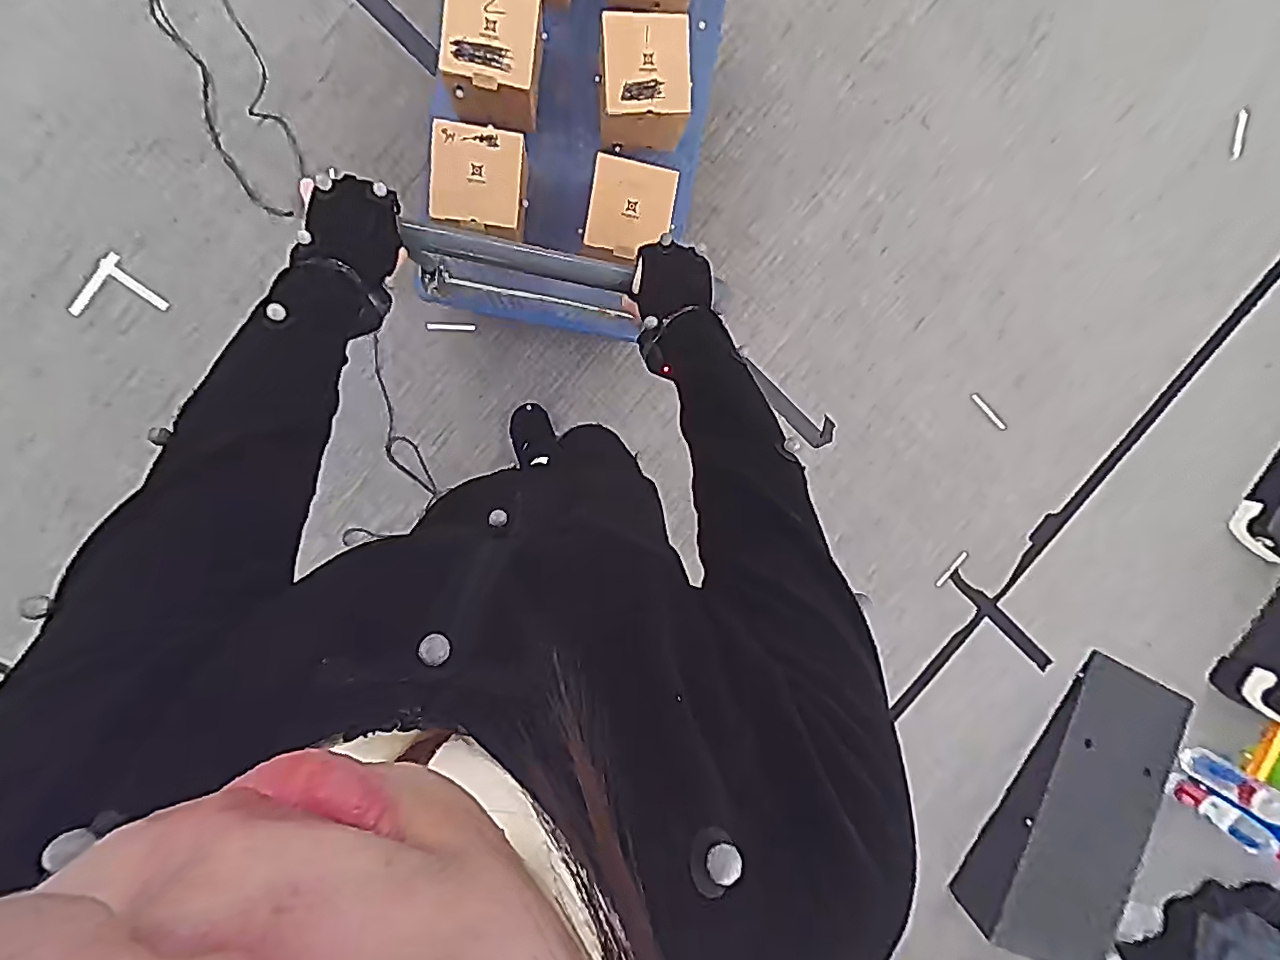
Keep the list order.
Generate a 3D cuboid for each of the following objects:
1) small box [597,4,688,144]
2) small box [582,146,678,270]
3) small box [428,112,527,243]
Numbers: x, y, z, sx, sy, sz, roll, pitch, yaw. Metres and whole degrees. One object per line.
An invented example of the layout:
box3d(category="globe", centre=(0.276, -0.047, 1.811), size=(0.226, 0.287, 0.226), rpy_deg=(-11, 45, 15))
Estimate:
box3d(category="small box", centre=(0.002, -0.812, 1.101), size=(0.168, 0.176, 0.179), rpy_deg=(-4, 100, -7))
box3d(category="small box", centre=(-0.029, -0.559, 1.142), size=(0.168, 0.176, 0.179), rpy_deg=(9, 98, -10))
box3d(category="small box", centre=(-0.320, -0.597, 1.092), size=(0.168, 0.176, 0.179), rpy_deg=(5, 99, -10))
